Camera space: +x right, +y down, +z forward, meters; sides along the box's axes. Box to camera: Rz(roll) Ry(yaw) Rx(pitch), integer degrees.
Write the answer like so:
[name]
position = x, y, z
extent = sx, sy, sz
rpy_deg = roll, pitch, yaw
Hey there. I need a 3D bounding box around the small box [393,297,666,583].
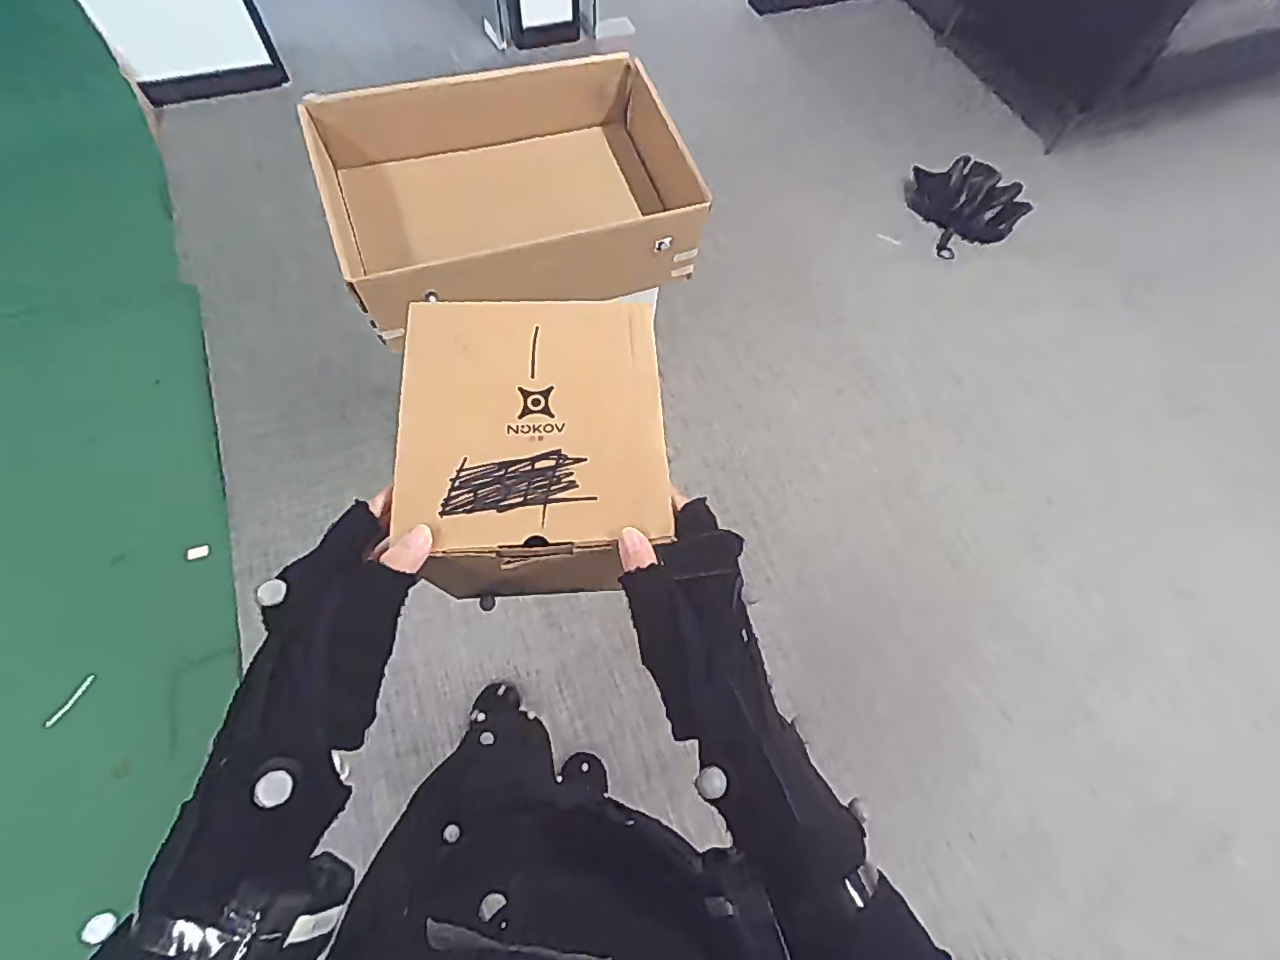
[small box]
position = -0.074, -0.018, 0.423
extent = 0.168, 0.176, 0.179
rpy_deg = -2, 69, -6
